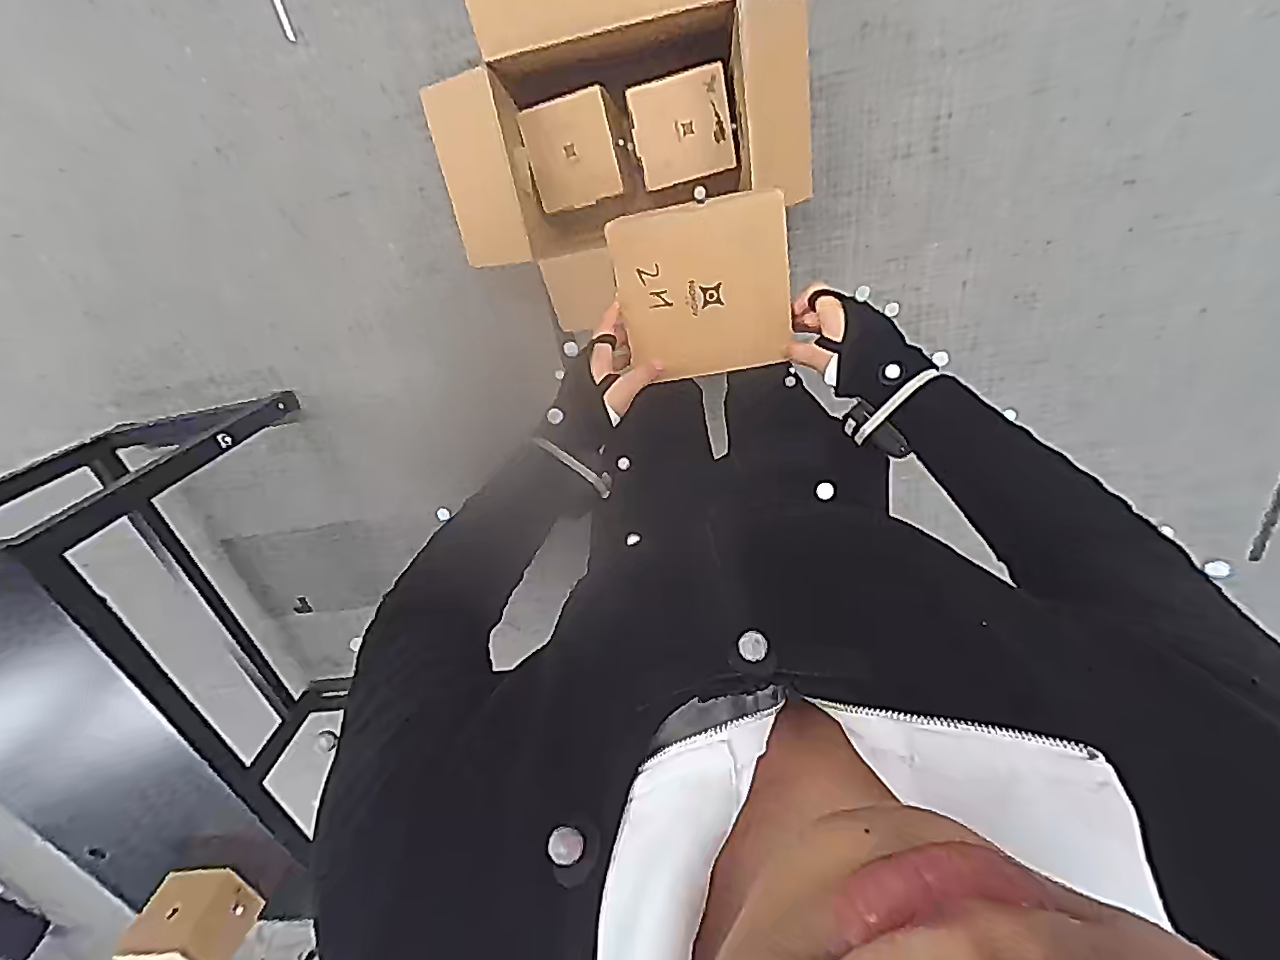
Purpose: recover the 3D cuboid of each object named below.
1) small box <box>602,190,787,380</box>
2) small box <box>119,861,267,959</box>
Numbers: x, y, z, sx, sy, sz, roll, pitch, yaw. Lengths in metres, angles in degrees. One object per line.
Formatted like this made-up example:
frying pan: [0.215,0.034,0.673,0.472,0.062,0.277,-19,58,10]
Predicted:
small box: [0.065,-0.232,0.629,0.179,0.176,0.168,-8,117,9]
small box: [-1.059,1.048,1.298,0.179,0.176,0.168,-10,119,9]
